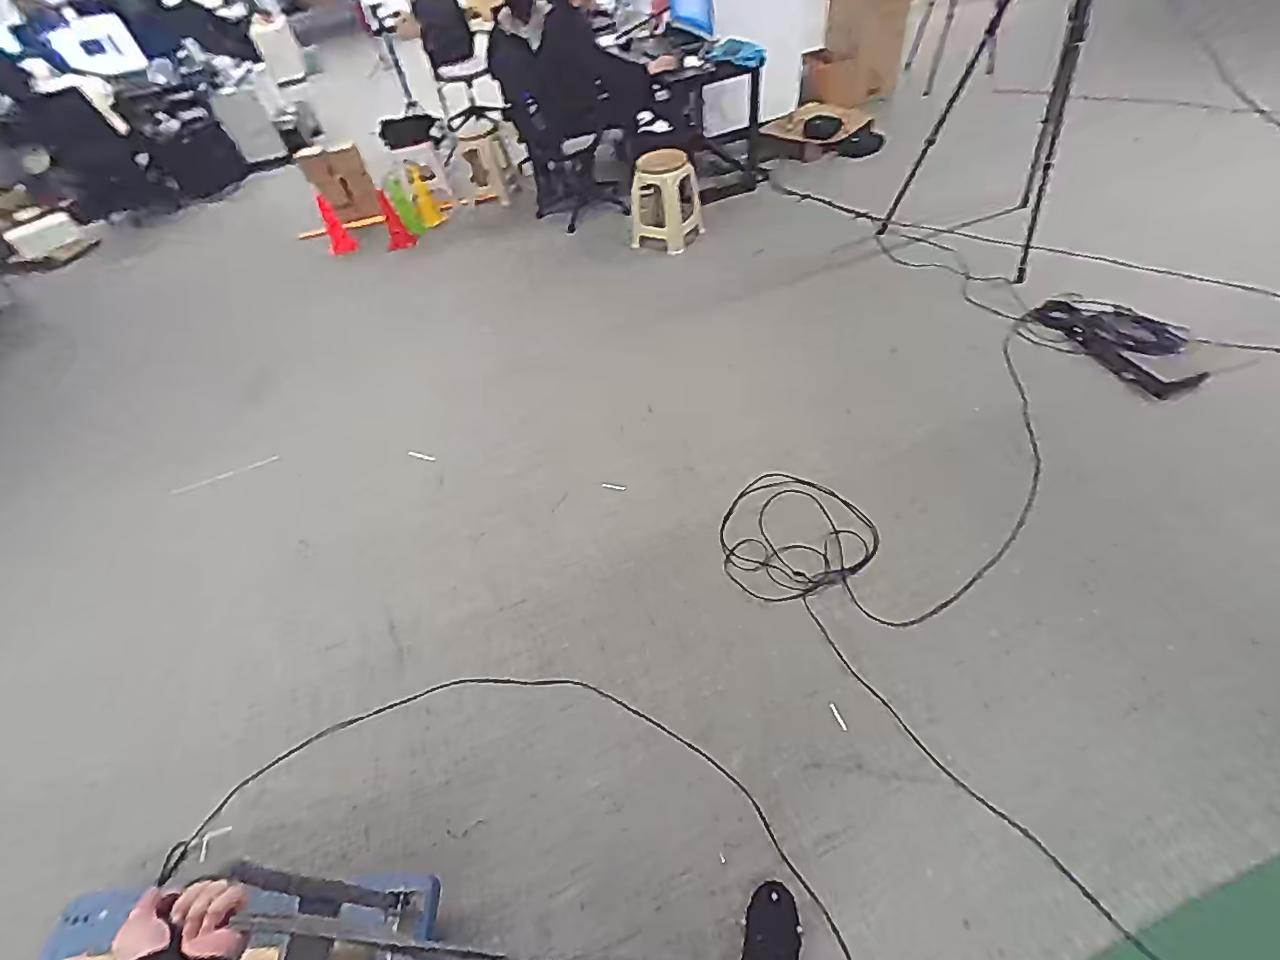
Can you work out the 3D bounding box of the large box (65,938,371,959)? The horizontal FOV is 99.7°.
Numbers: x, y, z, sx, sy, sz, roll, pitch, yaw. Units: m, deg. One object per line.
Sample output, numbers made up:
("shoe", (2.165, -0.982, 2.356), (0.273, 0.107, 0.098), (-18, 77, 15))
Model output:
("large box", (-0.756, 0.998, 0.923), (0.408, 0.320, 0.320), (-6, 49, 4))
